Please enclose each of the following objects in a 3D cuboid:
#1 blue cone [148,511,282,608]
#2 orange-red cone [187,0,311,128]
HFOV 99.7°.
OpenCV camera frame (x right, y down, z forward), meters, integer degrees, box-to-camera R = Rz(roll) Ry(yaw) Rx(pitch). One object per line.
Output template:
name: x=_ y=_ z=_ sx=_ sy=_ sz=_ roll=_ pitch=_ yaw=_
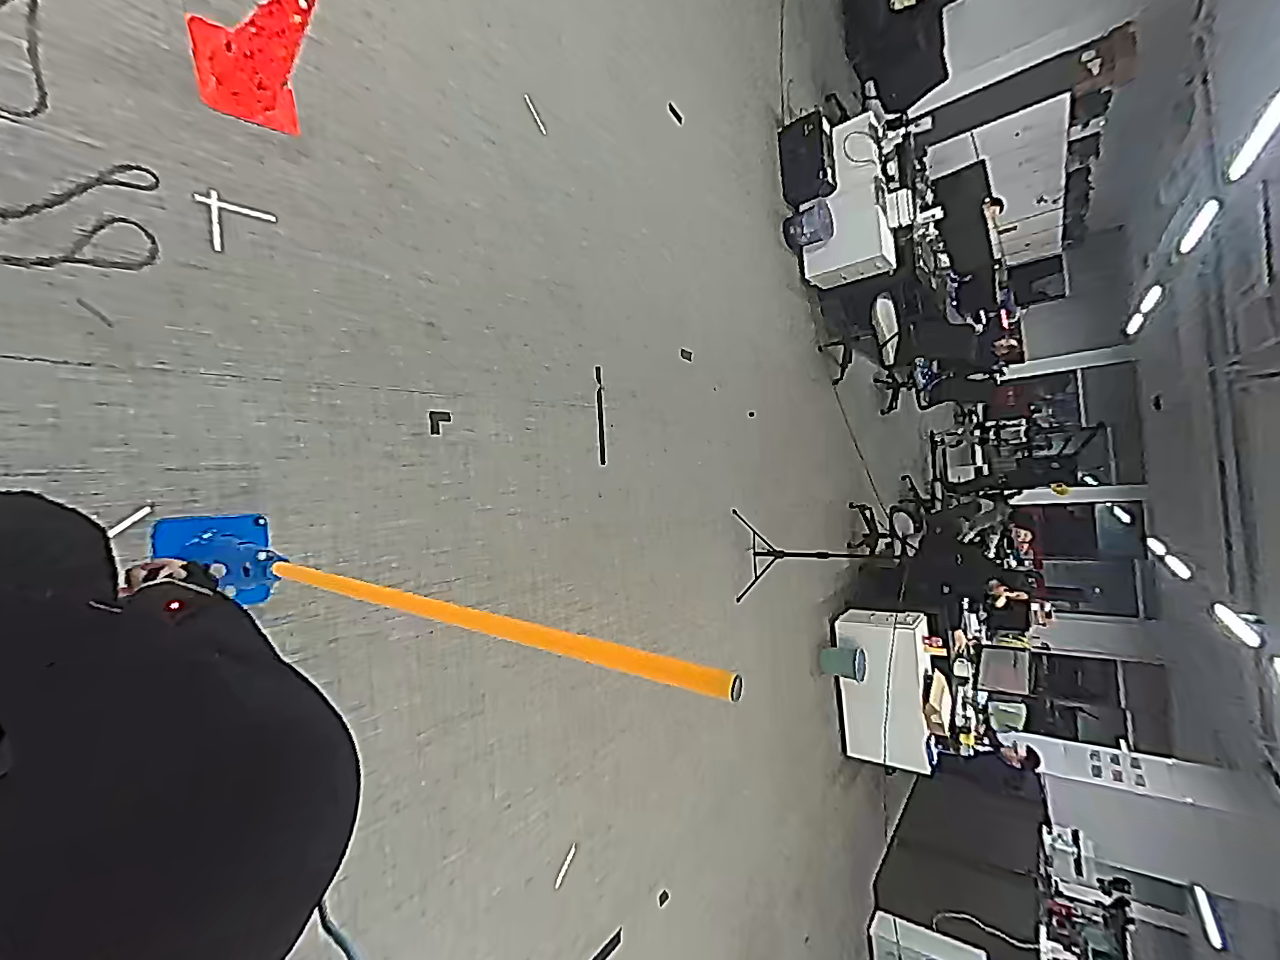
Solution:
blue cone: x=-0.779 y=0.151 z=1.039 sx=0.193 sy=0.380 sz=0.192 roll=2 pitch=84 yaw=-53
orange-red cone: x=-0.779 y=-0.955 z=1.143 sx=0.199 sy=0.360 sz=0.198 roll=-11 pitch=94 yaw=-51
